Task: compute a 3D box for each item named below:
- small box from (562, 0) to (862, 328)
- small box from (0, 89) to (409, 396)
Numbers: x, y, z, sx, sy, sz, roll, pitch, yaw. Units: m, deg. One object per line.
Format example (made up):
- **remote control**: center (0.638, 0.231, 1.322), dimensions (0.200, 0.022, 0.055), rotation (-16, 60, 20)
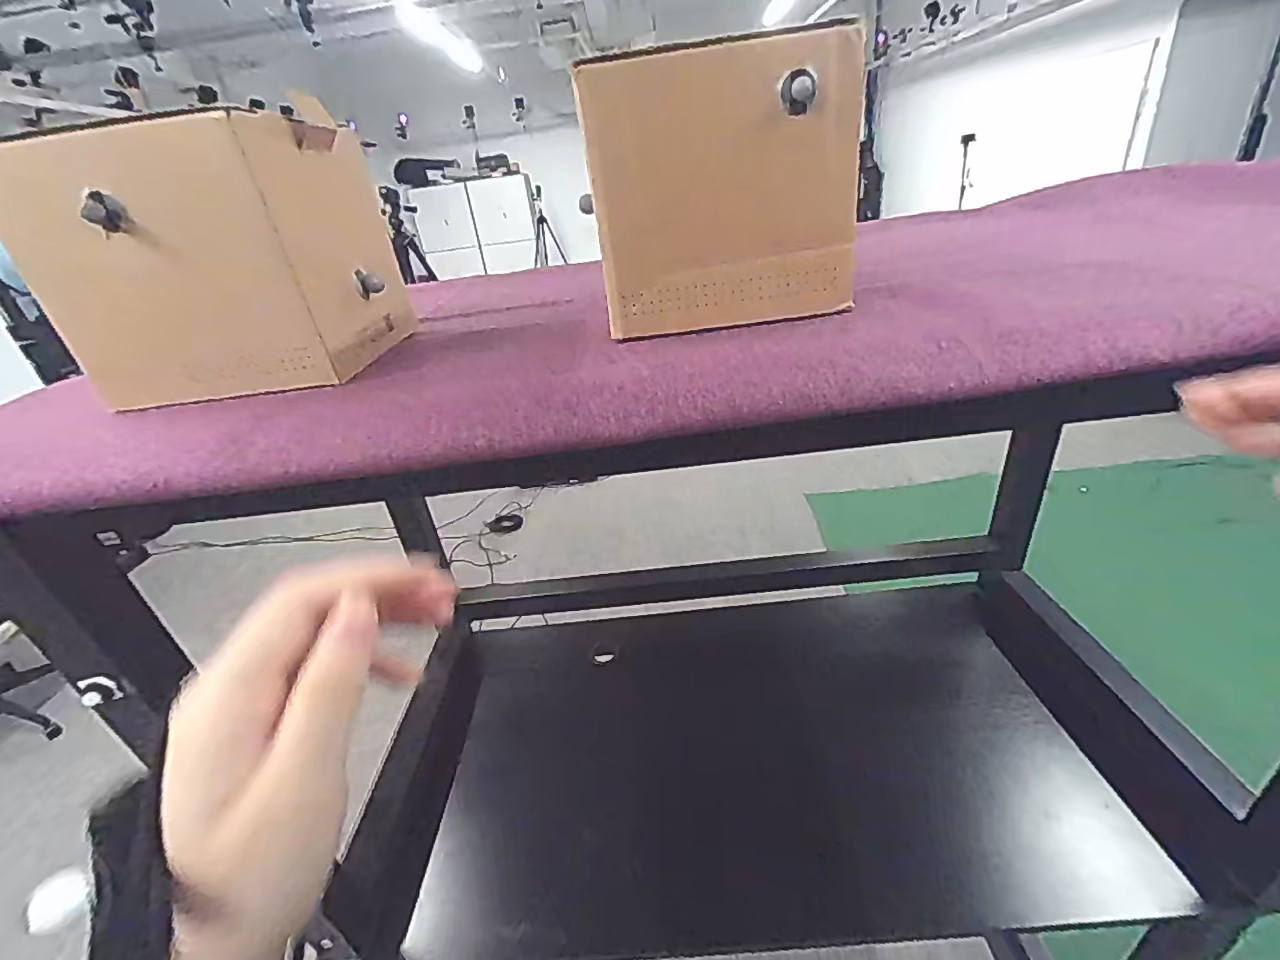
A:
- **small box**: center (0.050, -0.220, 0.410), dimensions (0.179, 0.176, 0.168), rotation (-6, 27, 2)
- **small box**: center (-0.309, -0.171, 0.409), dimensions (0.179, 0.176, 0.168), rotation (-6, 30, 2)
